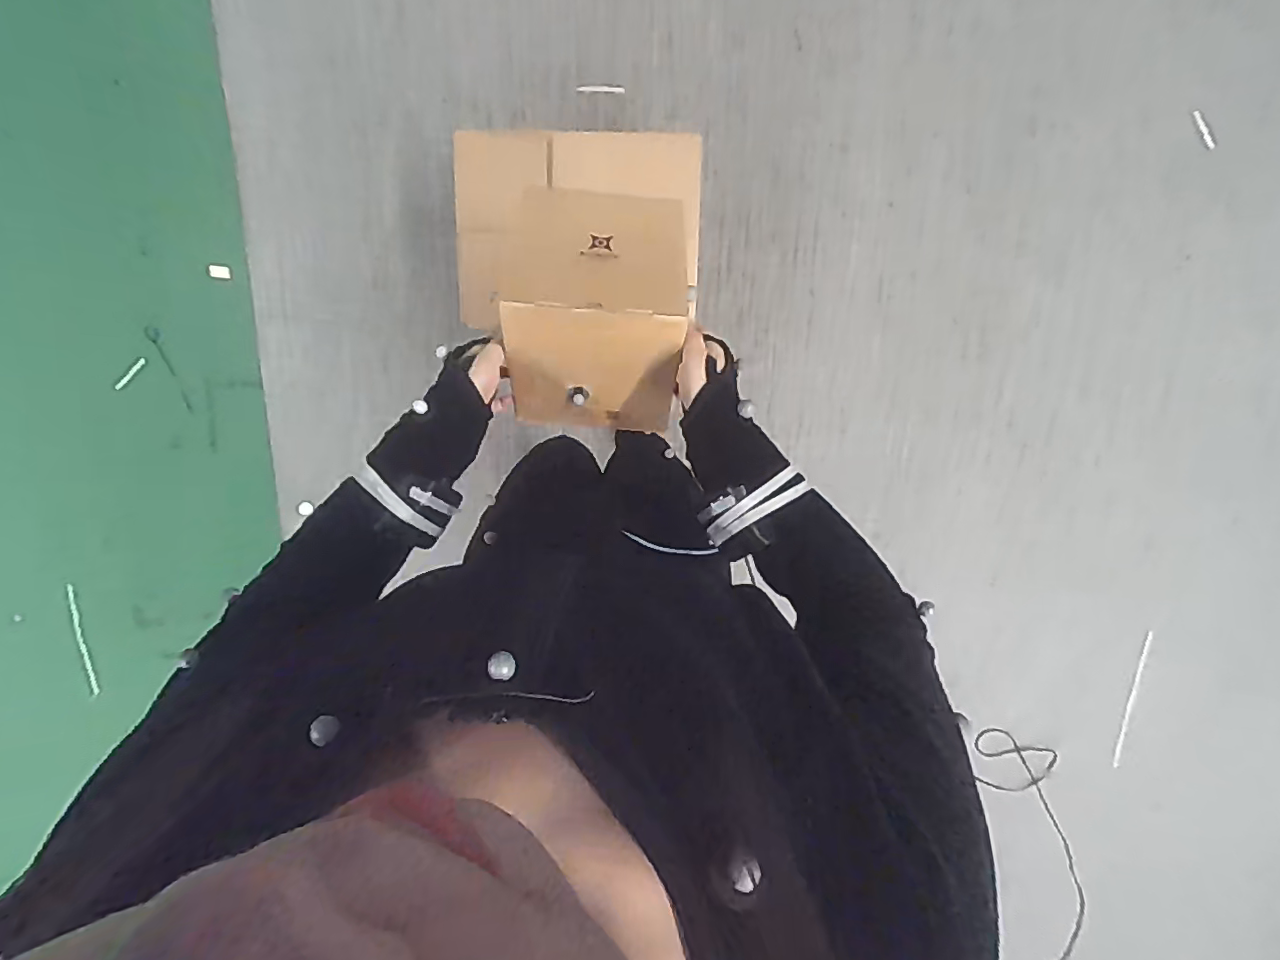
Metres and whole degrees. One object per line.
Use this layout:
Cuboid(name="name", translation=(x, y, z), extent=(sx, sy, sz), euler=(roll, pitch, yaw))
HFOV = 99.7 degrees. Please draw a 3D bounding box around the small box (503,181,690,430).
Cuboid(name="small box", translation=(-0.045, -0.178, 0.576), extent=(0.168, 0.179, 0.176), euler=(5, 149, -6))
